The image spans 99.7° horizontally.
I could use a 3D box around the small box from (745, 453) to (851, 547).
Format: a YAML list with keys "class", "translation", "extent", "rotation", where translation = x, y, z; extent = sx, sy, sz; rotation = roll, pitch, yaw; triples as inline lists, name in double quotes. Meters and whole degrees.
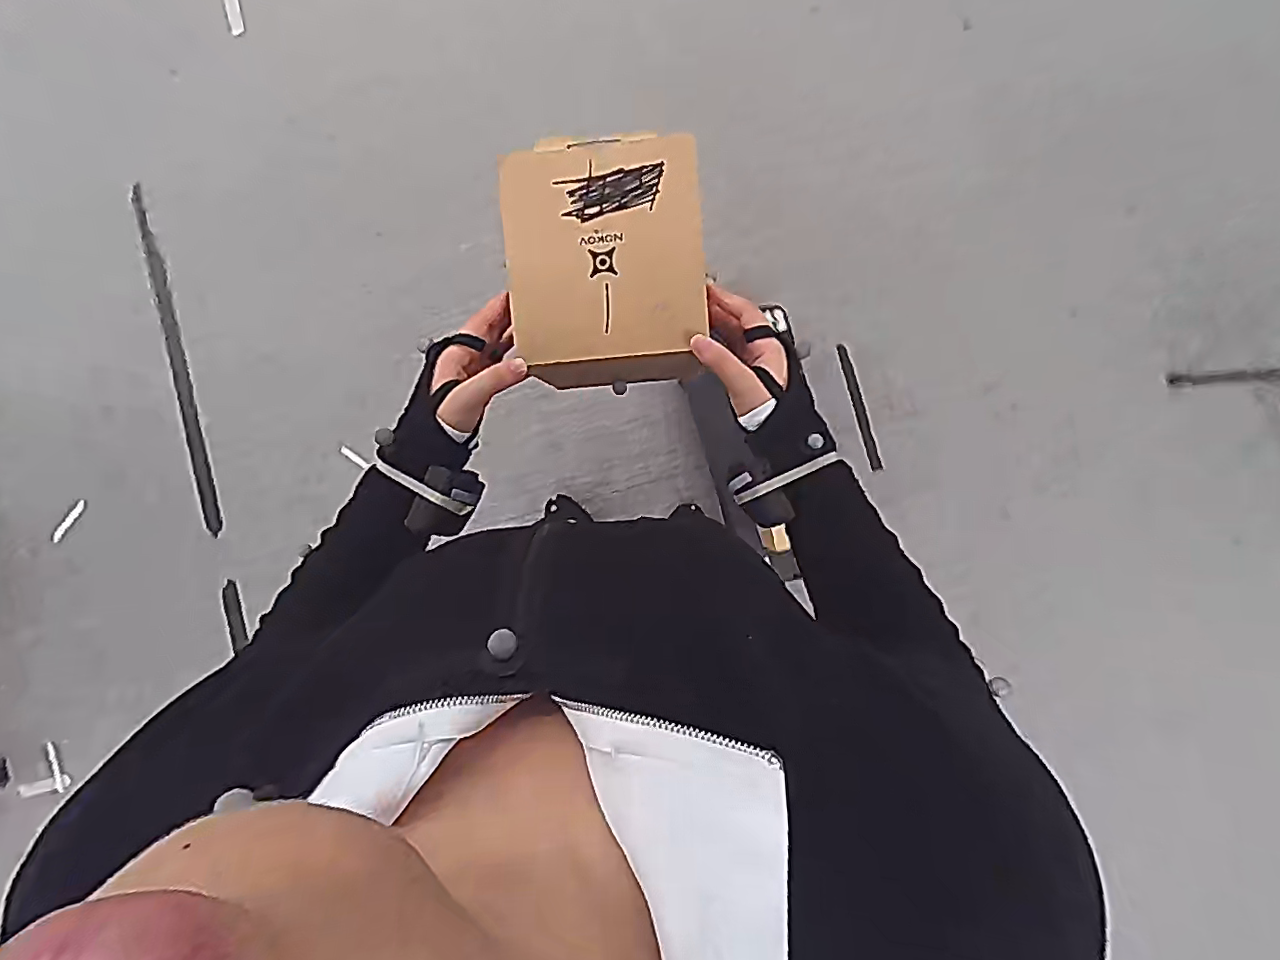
- class: "small box"
  translation: [0.343, 0.042, 1.217]
  extent: [0.179, 0.176, 0.168]
  rotation: [-17, 88, 2]

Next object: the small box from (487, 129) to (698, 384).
- class: "small box"
  translation: [-0.036, -0.198, 0.529]
  extent: [0.168, 0.176, 0.179]
  rotation: [-6, 93, 4]
